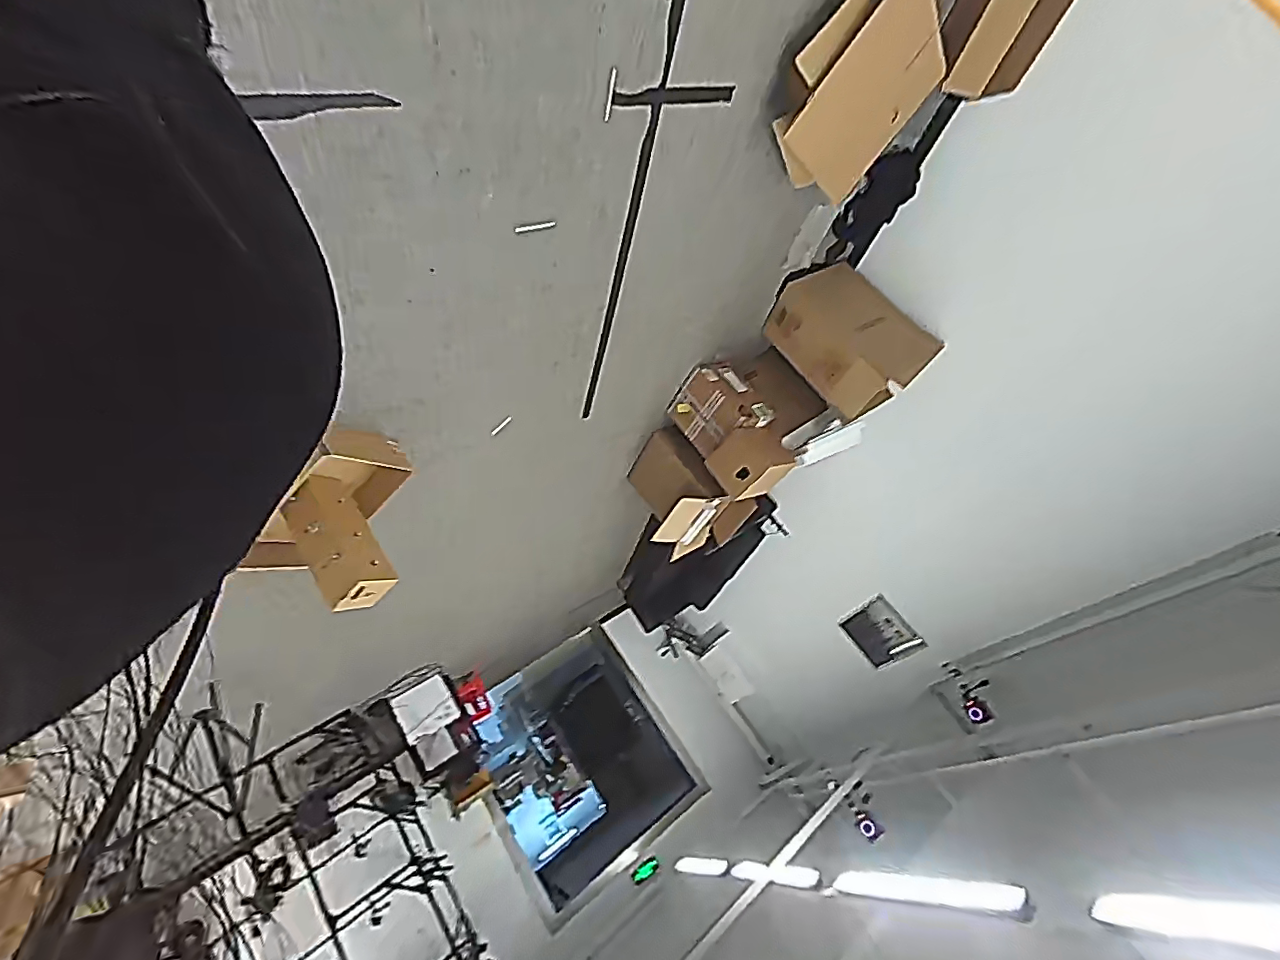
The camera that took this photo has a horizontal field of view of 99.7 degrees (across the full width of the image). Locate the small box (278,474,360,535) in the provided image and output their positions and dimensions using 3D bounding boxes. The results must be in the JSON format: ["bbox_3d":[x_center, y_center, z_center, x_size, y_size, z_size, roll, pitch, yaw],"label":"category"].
[{"bbox_3d":[-1.205,0.097,2.031,0.168,0.176,0.179,-42,160,8],"label":"small box"}]

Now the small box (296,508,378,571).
[{"bbox_3d":[-1.109,0.217,1.979,0.168,0.176,0.179,-43,160,10],"label":"small box"}]

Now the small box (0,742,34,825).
[{"bbox_3d":[-1.727,0.798,1.380,0.179,0.176,0.168,-42,160,7],"label":"small box"}]

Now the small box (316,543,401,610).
[{"bbox_3d":[-1.008,0.337,1.930,0.168,0.176,0.179,-43,162,11],"label":"small box"}]

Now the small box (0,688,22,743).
[{"bbox_3d":[-1.818,0.671,1.432,0.179,0.176,0.168,-41,160,7],"label":"small box"}]
